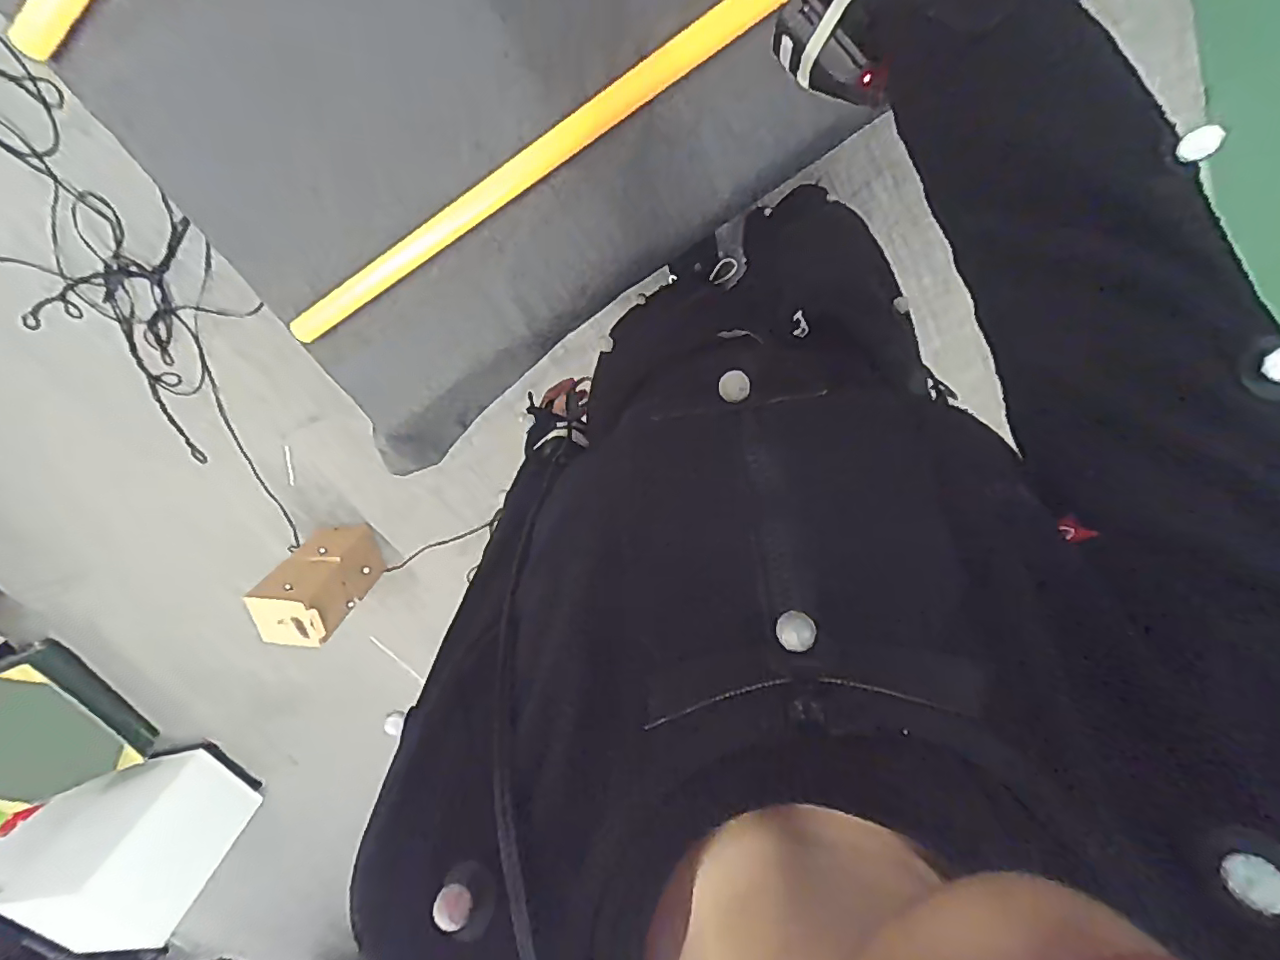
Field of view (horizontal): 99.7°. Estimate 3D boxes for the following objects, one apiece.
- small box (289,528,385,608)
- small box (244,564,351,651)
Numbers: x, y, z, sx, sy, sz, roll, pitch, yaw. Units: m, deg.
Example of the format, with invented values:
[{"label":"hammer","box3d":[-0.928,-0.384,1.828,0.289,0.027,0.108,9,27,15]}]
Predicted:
[{"label":"small box","box3d":[-0.909,0.266,1.644,0.168,0.176,0.179,-2,119,8]},{"label":"small box","box3d":[-0.937,0.349,1.504,0.179,0.176,0.168,3,119,6]}]
